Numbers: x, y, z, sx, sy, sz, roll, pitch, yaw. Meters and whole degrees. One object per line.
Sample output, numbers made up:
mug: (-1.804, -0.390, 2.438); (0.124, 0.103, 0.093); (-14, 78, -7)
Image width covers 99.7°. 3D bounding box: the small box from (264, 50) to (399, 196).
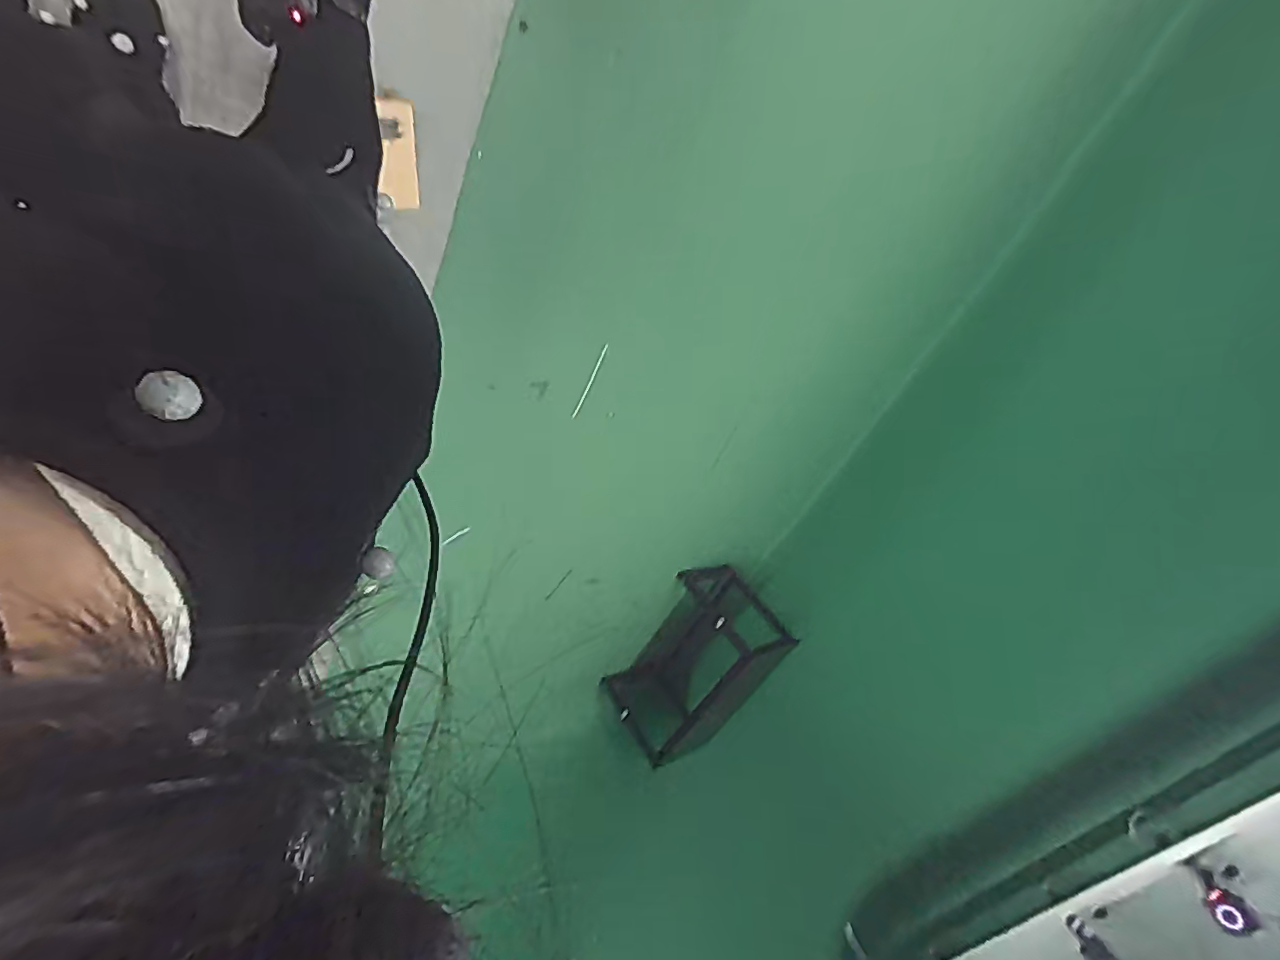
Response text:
small box: (-0.620, -0.713, 1.079); (0.179, 0.176, 0.168); (11, 121, -50)
